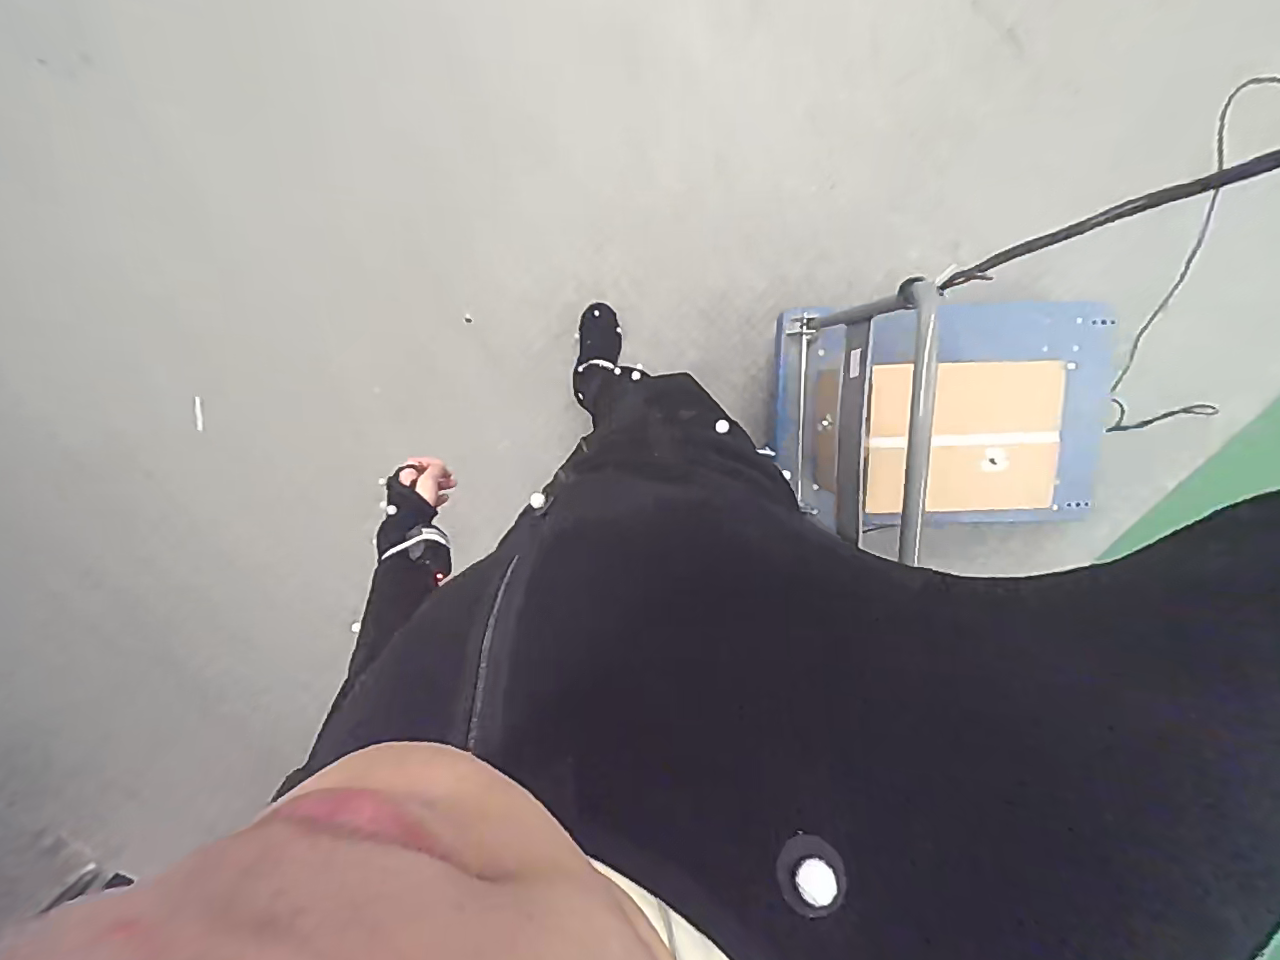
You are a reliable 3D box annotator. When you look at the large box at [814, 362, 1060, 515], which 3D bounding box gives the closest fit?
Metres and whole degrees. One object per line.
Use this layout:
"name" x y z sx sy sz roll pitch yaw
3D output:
"large box" 0.657 -0.108 1.268 0.408 0.320 0.320 -1 101 -2
